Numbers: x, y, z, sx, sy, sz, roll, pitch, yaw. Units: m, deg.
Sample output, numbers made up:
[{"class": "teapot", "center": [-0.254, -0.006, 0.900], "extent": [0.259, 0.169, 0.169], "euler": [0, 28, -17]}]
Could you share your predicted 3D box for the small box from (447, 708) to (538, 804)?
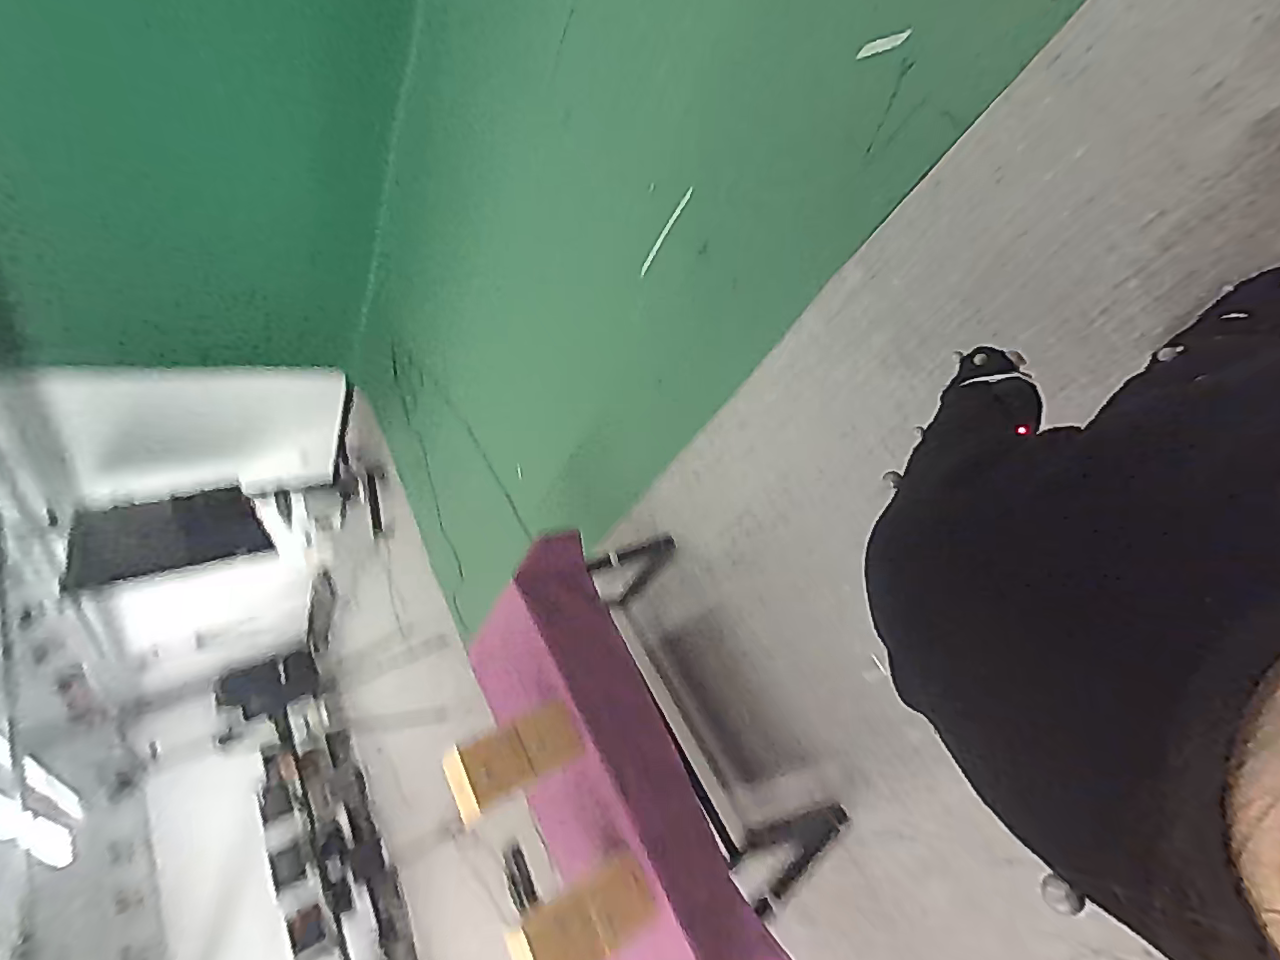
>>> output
[{"class": "small box", "center": [-0.414, 0.767, 1.521], "extent": [0.179, 0.176, 0.168], "euler": [58, 135, 20]}]

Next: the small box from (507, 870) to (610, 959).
[{"class": "small box", "center": [-0.207, 1.123, 1.369], "extent": [0.168, 0.176, 0.179], "euler": [-48, 64, 44]}]

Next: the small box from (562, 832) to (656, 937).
[{"class": "small box", "center": [-0.085, 1.098, 1.475], "extent": [0.168, 0.176, 0.179], "euler": [60, 137, 19]}]

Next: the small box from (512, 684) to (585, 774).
[{"class": "small box", "center": [-0.291, 0.745, 1.626], "extent": [0.168, 0.176, 0.179], "euler": [-50, 61, 42]}]
